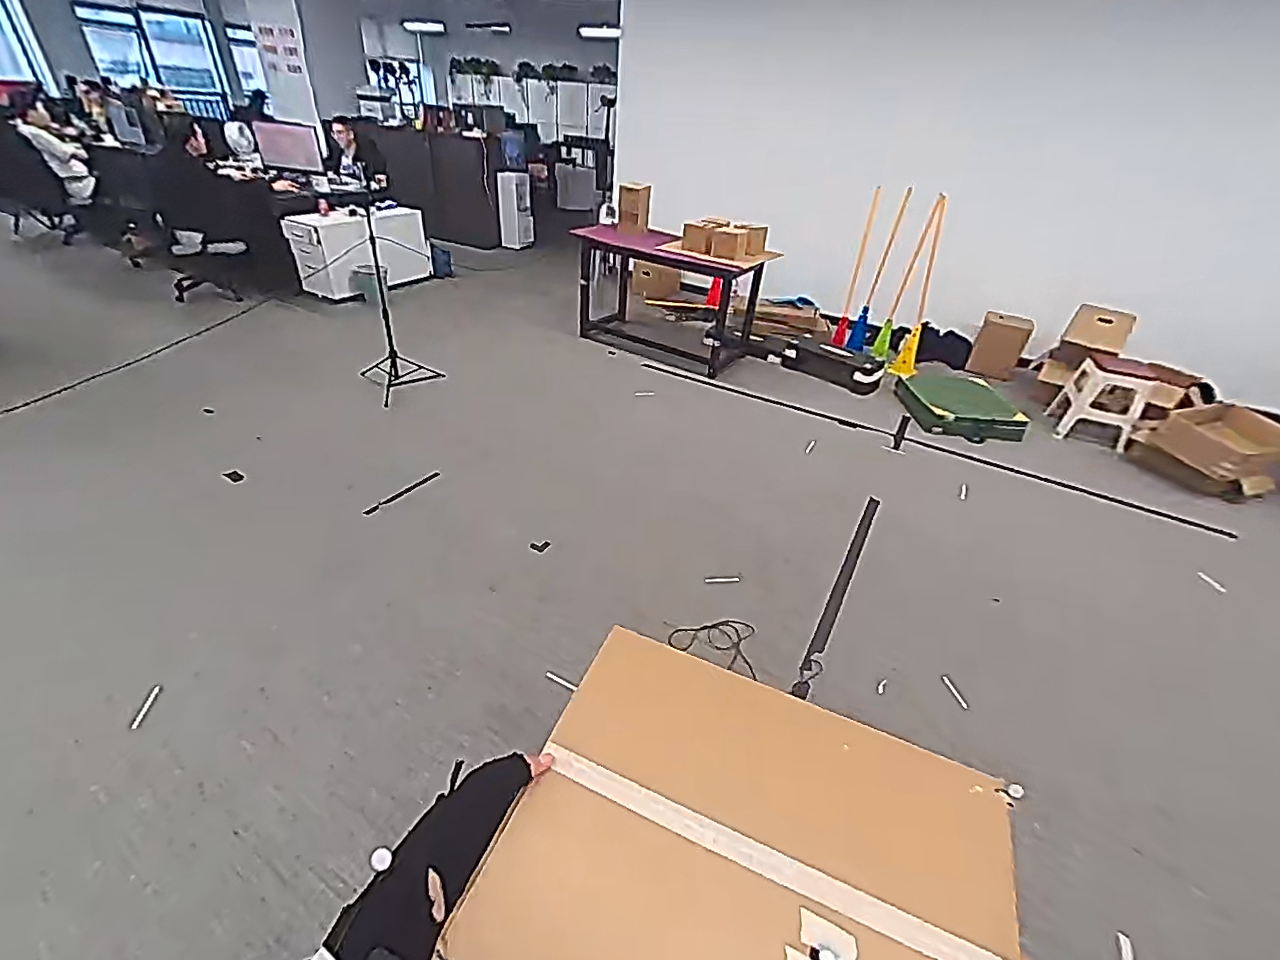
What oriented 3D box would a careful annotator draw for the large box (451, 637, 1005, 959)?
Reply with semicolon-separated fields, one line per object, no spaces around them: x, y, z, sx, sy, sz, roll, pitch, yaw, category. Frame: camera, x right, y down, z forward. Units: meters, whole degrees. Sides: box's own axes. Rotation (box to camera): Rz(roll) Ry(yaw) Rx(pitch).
0.085;0.435;0.557;0.408;0.320;0.320;18;43;16;large box
